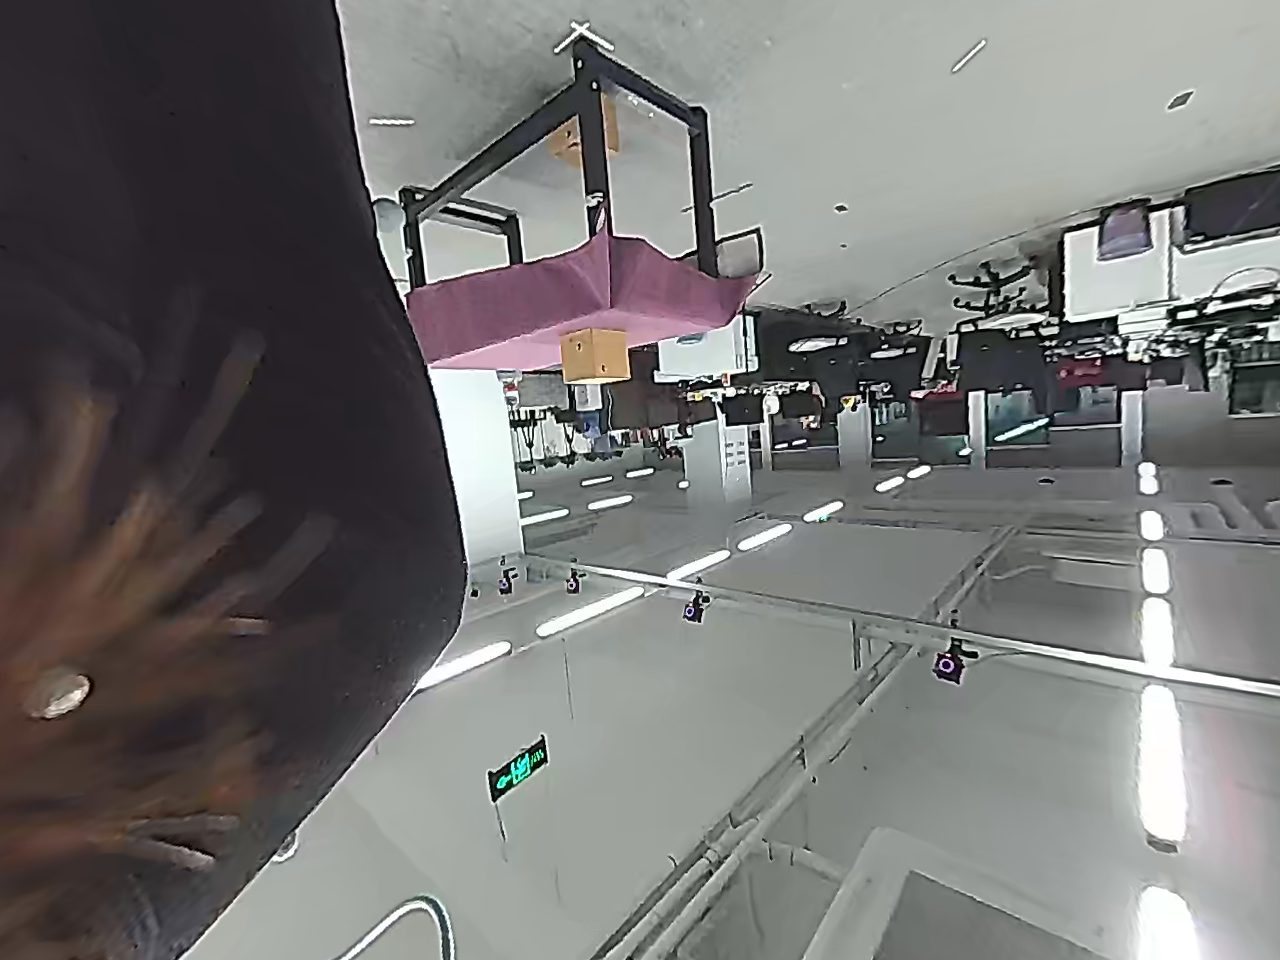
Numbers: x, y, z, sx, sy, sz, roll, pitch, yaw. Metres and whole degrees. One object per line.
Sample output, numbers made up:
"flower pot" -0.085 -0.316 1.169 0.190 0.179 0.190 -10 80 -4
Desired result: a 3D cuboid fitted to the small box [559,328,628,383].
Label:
"small box" -0.164 -0.436 1.898 0.168 0.176 0.179 0 -172 42
